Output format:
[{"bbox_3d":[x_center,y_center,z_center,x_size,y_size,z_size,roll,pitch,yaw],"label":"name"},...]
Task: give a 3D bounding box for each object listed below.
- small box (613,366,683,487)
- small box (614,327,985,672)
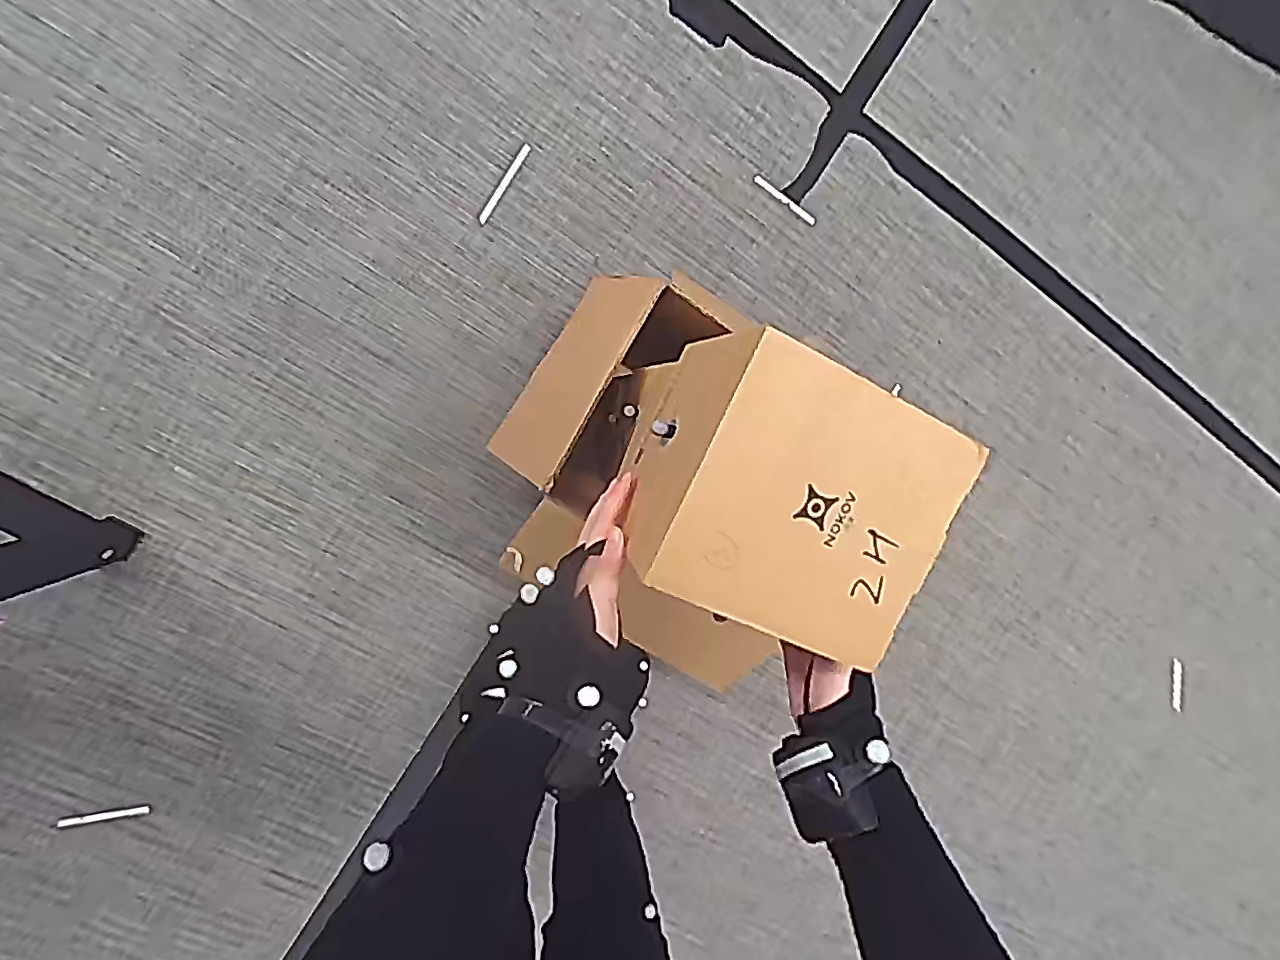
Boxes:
[{"bbox_3d":[0.068,-0.051,0.732,0.179,0.176,0.168,10,97,-14],"label":"small box"},{"bbox_3d":[0.095,0.007,0.407,0.179,0.176,0.168,24,95,-14],"label":"small box"}]
